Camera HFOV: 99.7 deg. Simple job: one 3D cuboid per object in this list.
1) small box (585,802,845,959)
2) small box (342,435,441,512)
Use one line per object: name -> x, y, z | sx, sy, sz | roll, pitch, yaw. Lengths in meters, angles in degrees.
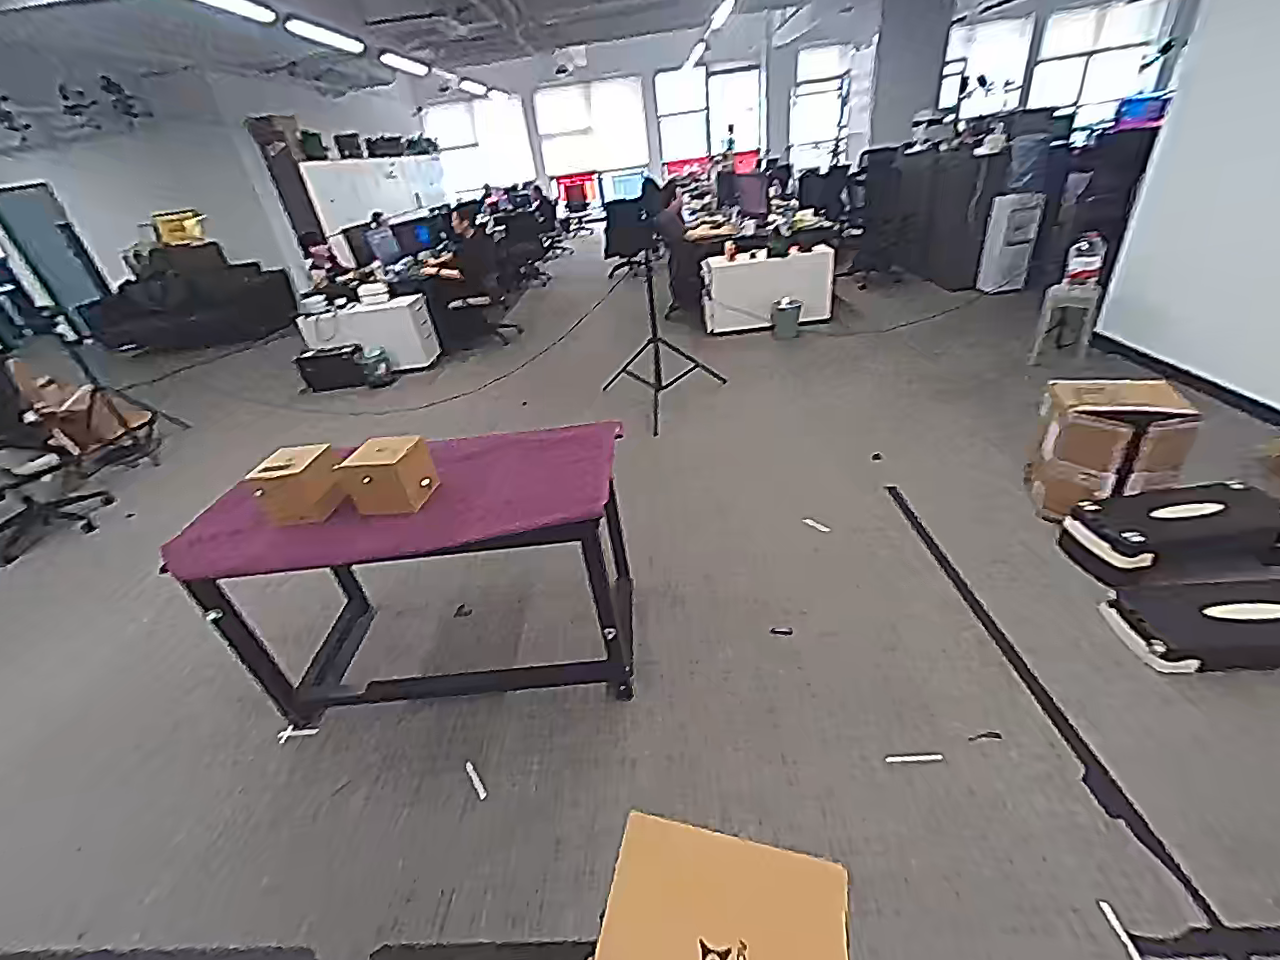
small box -> 0.056, 0.390, 0.423 | 0.179, 0.176, 0.168 | 7, 39, 12
small box -> -0.716, -0.016, 1.579 | 0.179, 0.176, 0.168 | -2, 32, 10
